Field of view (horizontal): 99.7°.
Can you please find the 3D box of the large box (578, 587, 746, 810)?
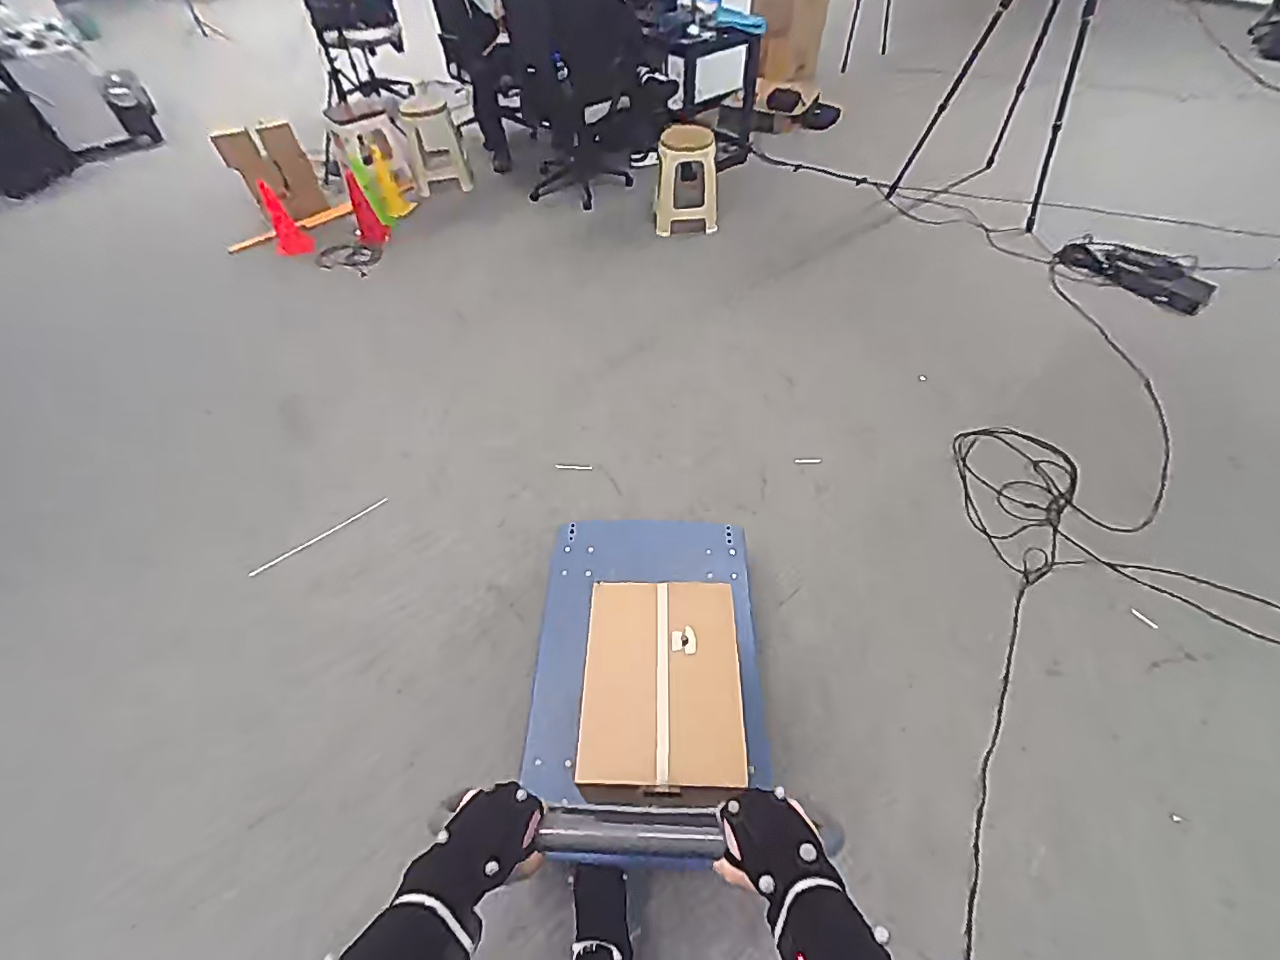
[{"bbox_3d":[0.047,0.495,1.224,0.320,0.320,0.408,1,50,2],"label":"large box"}]
